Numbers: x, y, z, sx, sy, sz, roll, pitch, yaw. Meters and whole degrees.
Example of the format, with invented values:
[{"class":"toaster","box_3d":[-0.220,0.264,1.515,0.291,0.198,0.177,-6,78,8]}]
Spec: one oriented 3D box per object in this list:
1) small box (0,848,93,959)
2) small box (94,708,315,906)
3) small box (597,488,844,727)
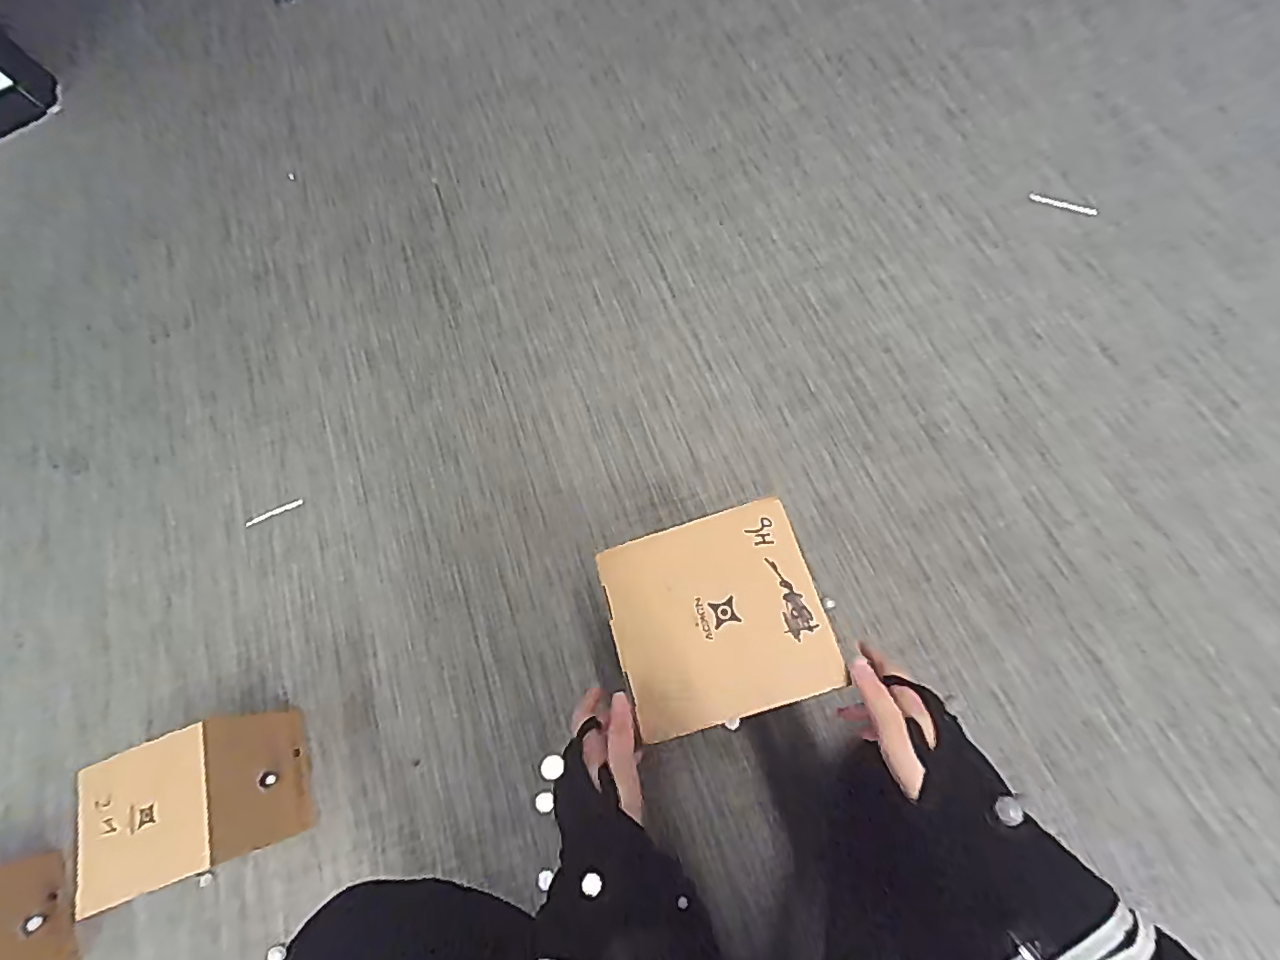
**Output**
[{"class":"small box","box_3d":[-0.906,0.642,0.723,0.179,0.176,0.168,-34,69,-2]},{"class":"small box","box_3d":[-0.573,0.424,0.734,0.179,0.176,0.168,-22,69,3]},{"class":"small box","box_3d":[0.077,0.130,0.536,0.179,0.176,0.168,-19,70,4]}]
